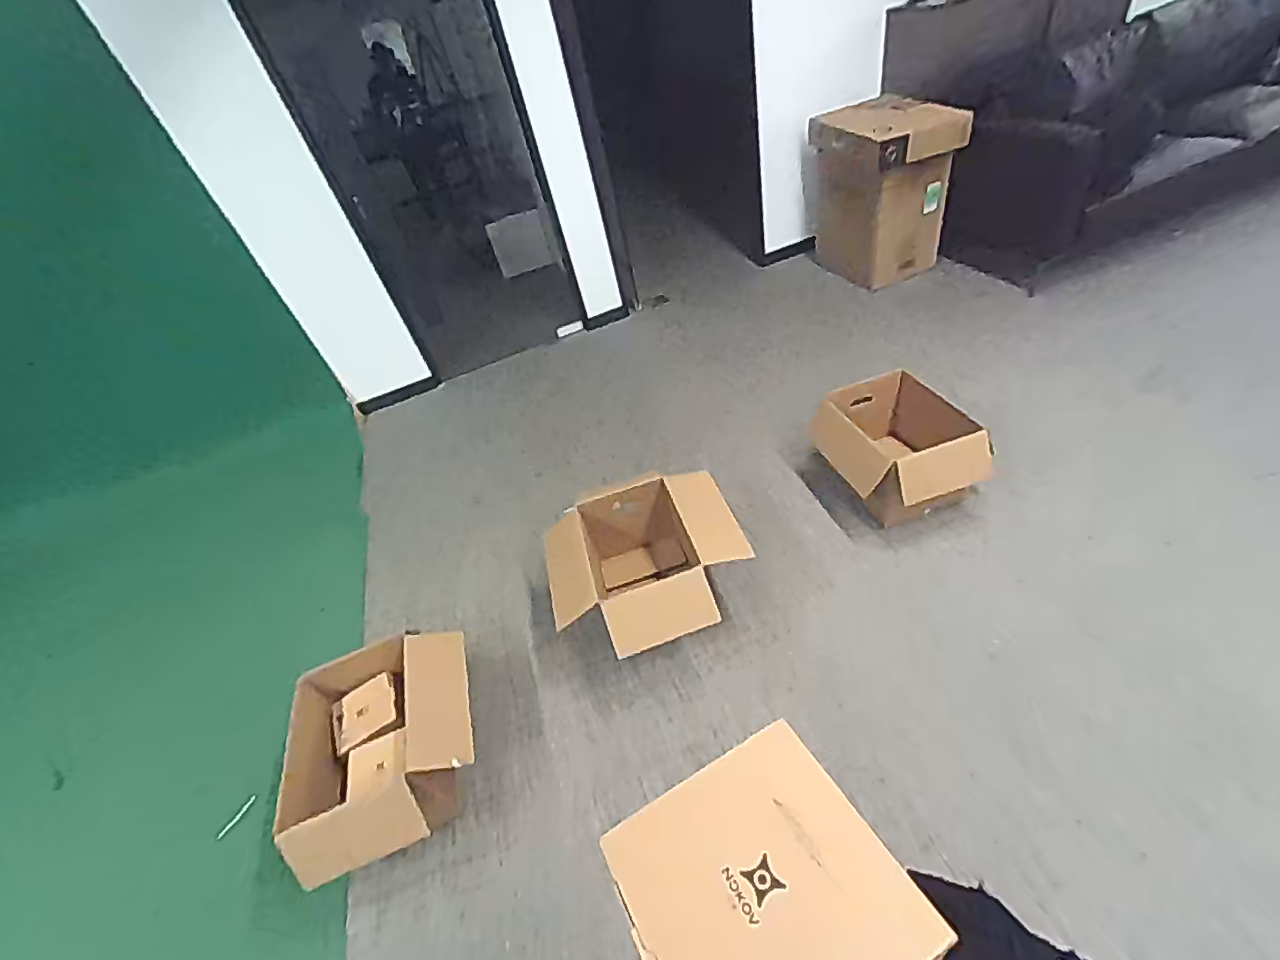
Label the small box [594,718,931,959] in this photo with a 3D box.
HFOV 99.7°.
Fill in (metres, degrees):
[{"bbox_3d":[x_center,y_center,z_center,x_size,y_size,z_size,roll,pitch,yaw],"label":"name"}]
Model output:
[{"bbox_3d":[0.089,0.335,0.423,0.179,0.176,0.168,-25,41,-14],"label":"small box"}]
